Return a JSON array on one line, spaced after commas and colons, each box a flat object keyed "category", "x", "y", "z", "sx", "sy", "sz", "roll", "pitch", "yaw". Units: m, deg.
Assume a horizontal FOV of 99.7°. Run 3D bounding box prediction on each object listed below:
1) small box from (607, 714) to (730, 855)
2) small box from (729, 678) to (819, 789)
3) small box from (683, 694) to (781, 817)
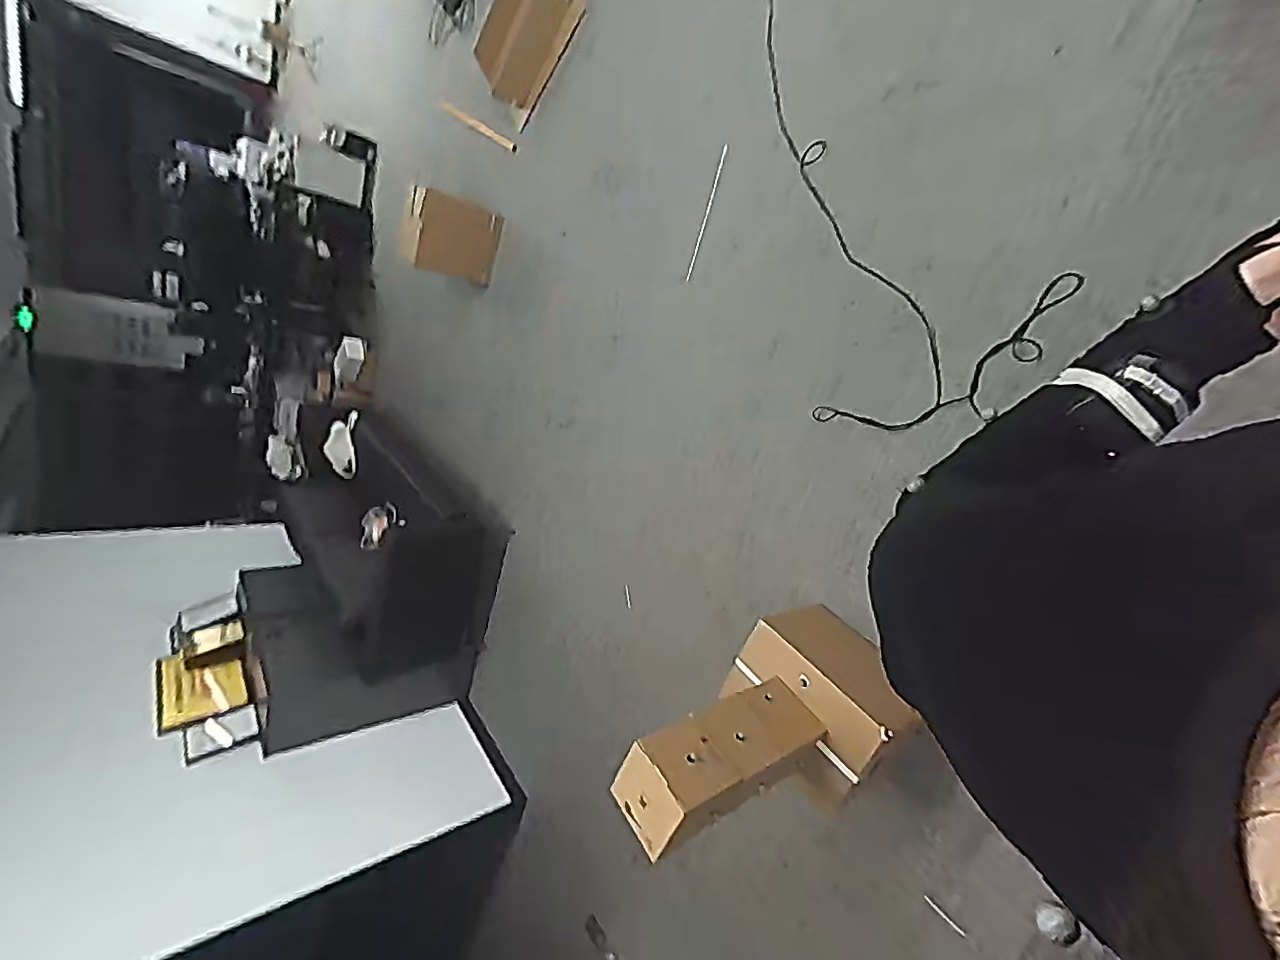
[{"category": "small box", "x": 0.064, "y": 0.631, "z": 1.143, "sx": 0.168, "sy": 0.176, "sz": 0.179, "roll": 45, "pitch": 123, "yaw": 38}, {"category": "small box", "x": 0.309, "y": 0.625, "z": 1.361, "sx": 0.179, "sy": 0.176, "sz": 0.168, "roll": 44, "pitch": 123, "yaw": 38}, {"category": "small box", "x": 0.187, "y": 0.624, "z": 1.252, "sx": 0.179, "sy": 0.176, "sz": 0.168, "roll": 45, "pitch": 124, "yaw": 37}]
